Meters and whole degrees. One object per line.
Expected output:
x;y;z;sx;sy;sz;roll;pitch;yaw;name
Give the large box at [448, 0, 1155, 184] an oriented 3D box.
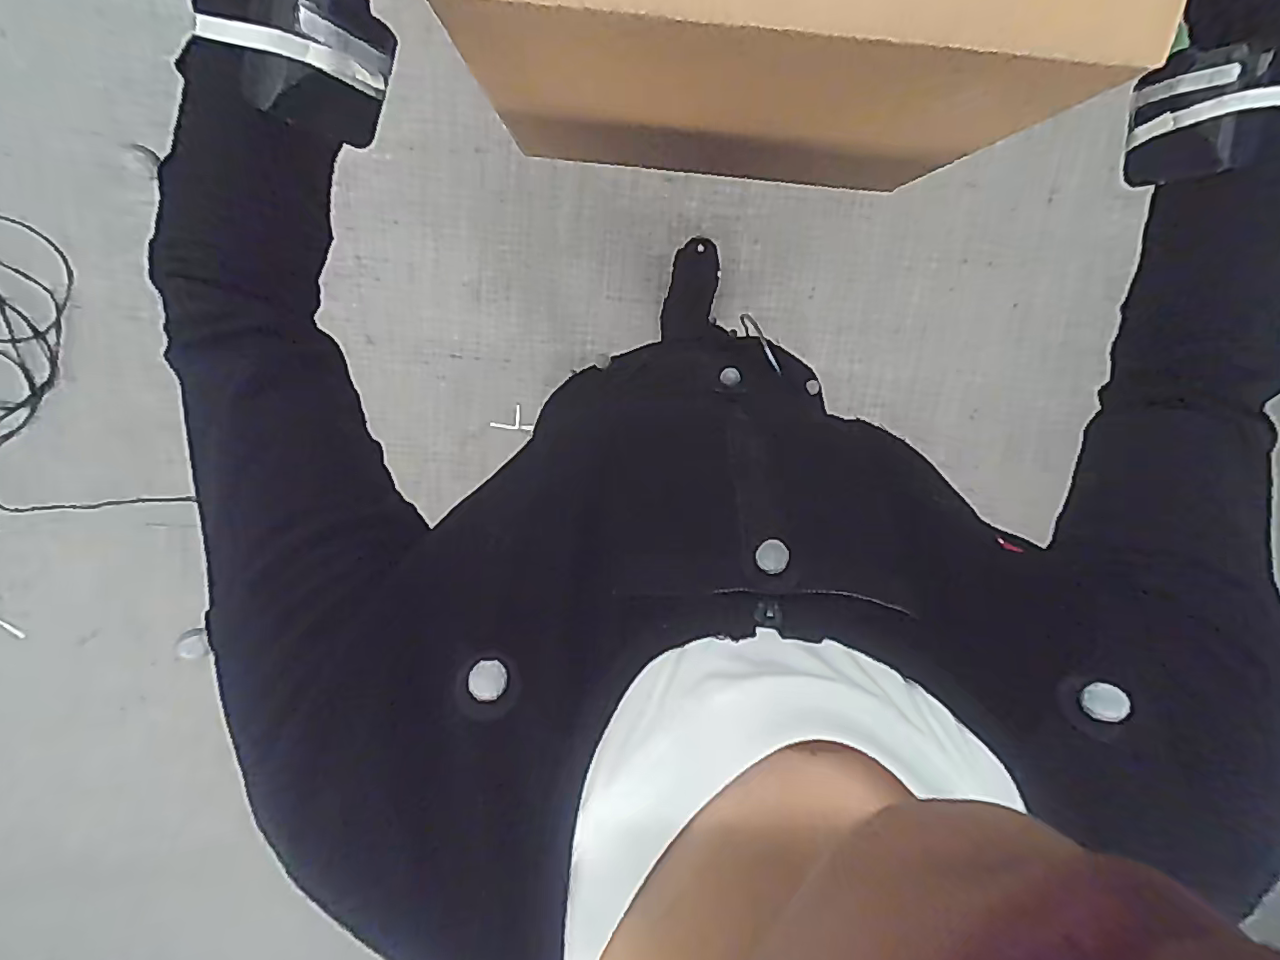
0.092;-0.436;0.403;0.408;0.320;0.320;3;107;-3;large box
